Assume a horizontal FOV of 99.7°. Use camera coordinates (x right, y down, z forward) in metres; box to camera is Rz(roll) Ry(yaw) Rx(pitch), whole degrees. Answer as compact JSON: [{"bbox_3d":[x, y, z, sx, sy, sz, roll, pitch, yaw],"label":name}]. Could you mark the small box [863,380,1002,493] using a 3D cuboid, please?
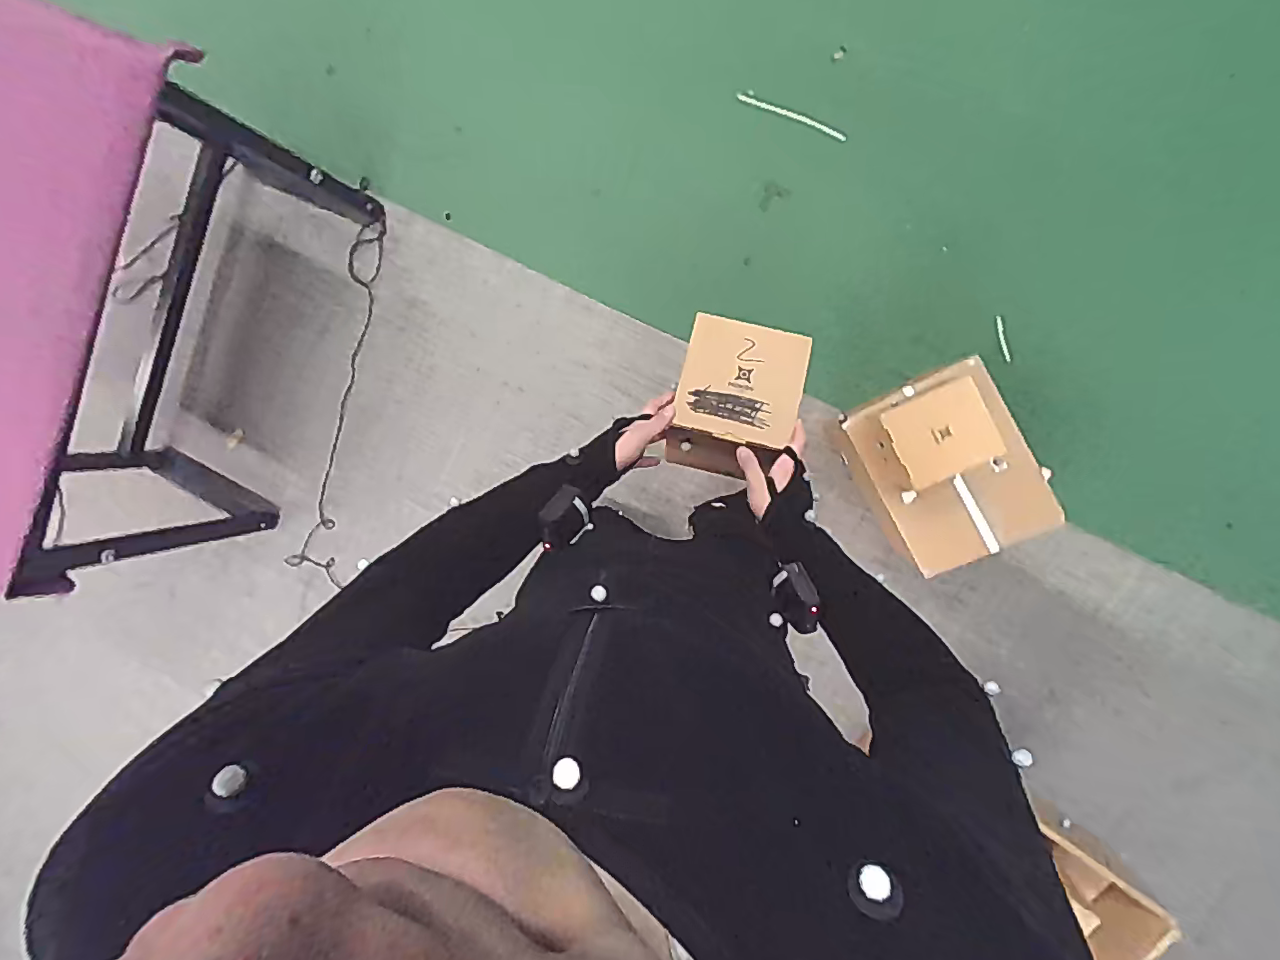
[{"bbox_3d":[0.587,-0.092,1.109,0.179,0.176,0.168,-26,91,14],"label":"small box"}]
